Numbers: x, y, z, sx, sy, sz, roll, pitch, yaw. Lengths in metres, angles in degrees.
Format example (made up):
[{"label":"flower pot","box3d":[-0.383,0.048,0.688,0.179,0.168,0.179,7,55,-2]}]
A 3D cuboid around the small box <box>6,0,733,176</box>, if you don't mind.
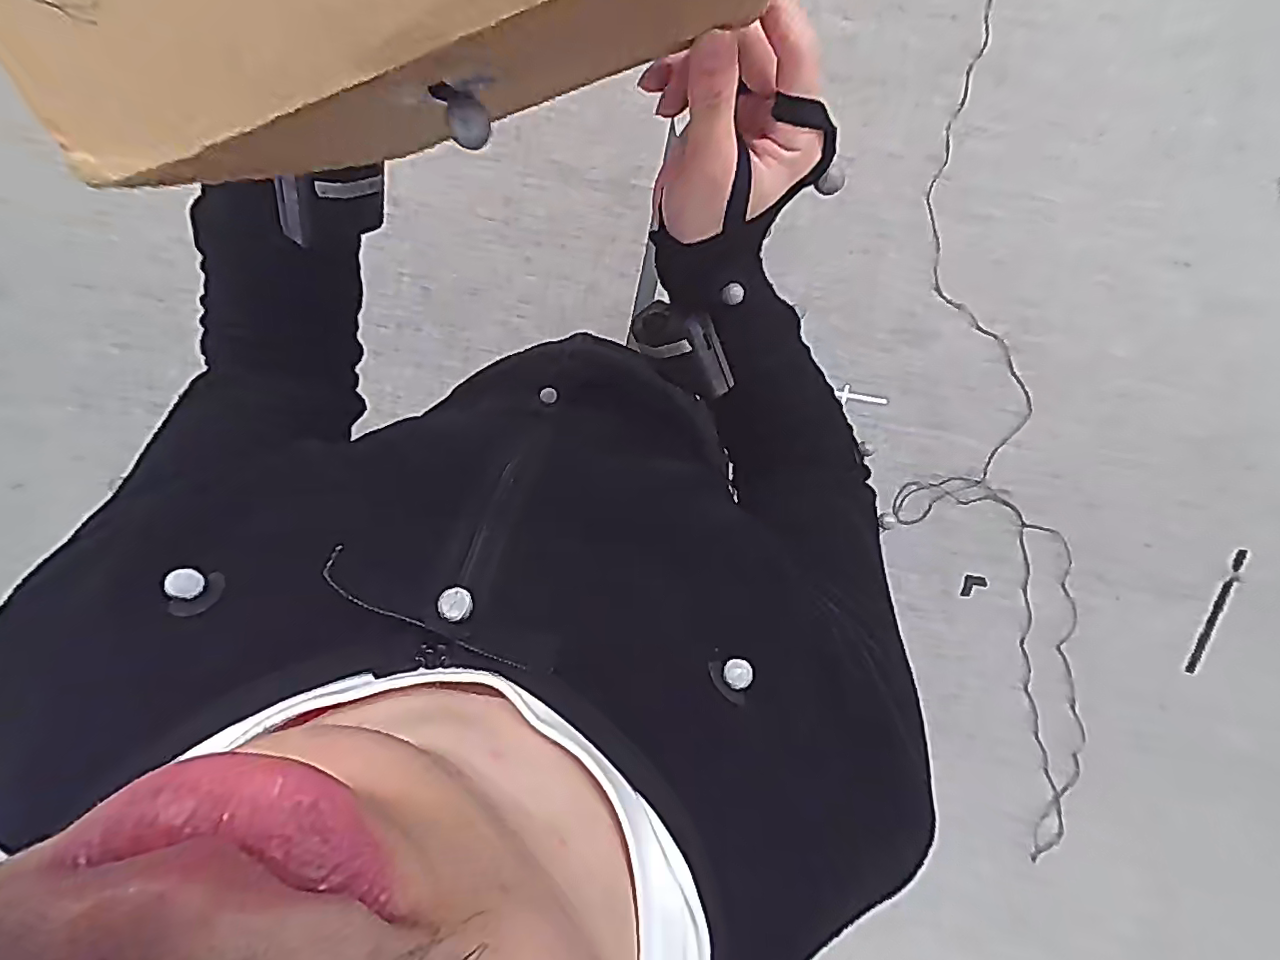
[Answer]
[{"label":"small box","box3d":[-0.066,-0.202,0.148,0.179,0.176,0.168,-12,122,13]}]
